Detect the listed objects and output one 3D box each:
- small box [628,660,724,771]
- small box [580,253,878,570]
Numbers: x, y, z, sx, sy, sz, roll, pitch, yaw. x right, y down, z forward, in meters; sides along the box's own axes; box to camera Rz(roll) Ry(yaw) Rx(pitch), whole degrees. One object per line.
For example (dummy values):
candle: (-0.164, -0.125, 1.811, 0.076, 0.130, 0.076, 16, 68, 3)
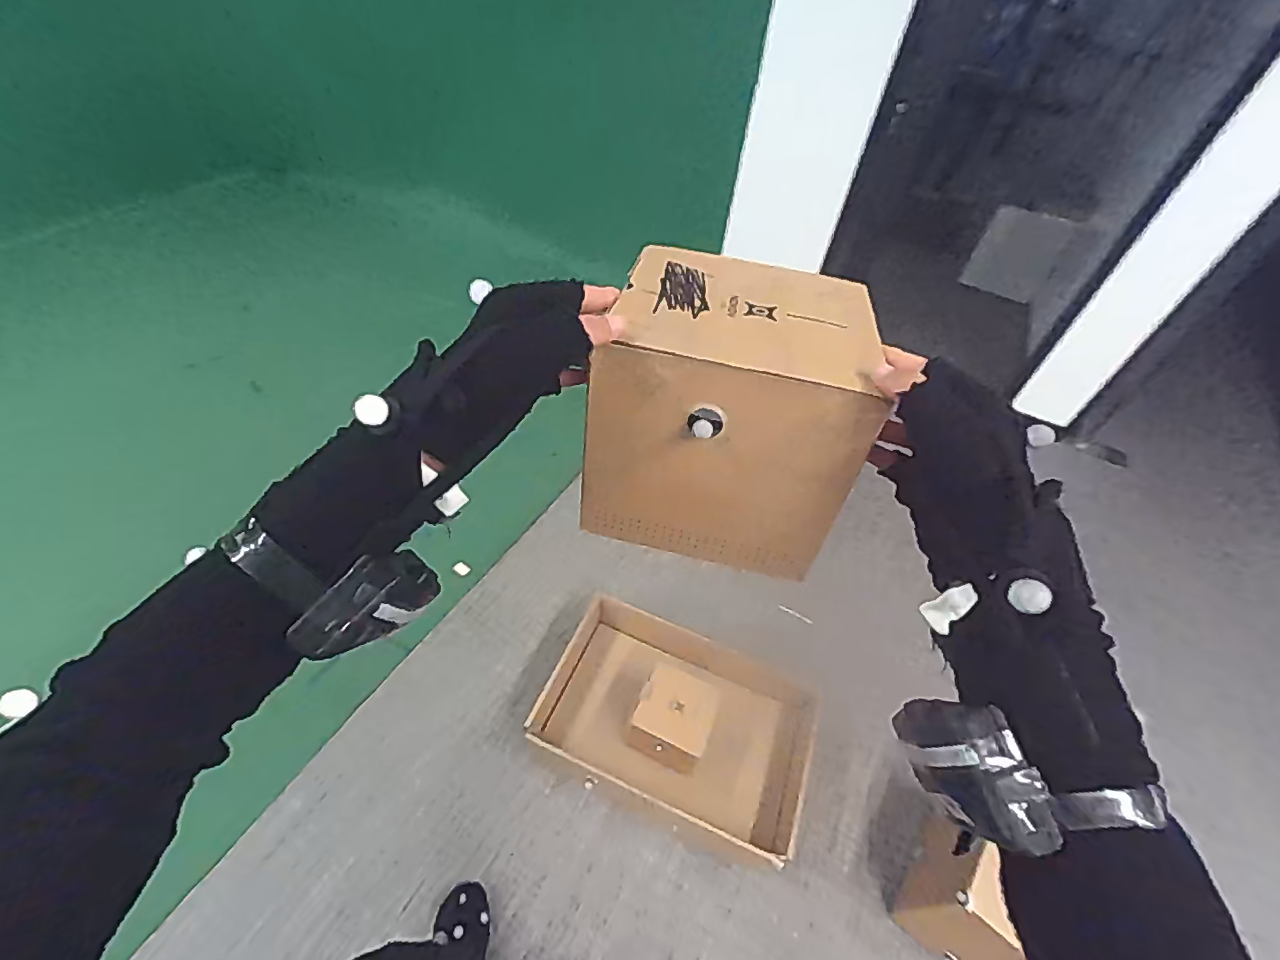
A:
small box: (0.082, 0.575, 1.311, 0.179, 0.176, 0.168, 23, 50, 11)
small box: (0.058, -0.053, 0.423, 0.179, 0.176, 0.168, 13, 42, 3)
